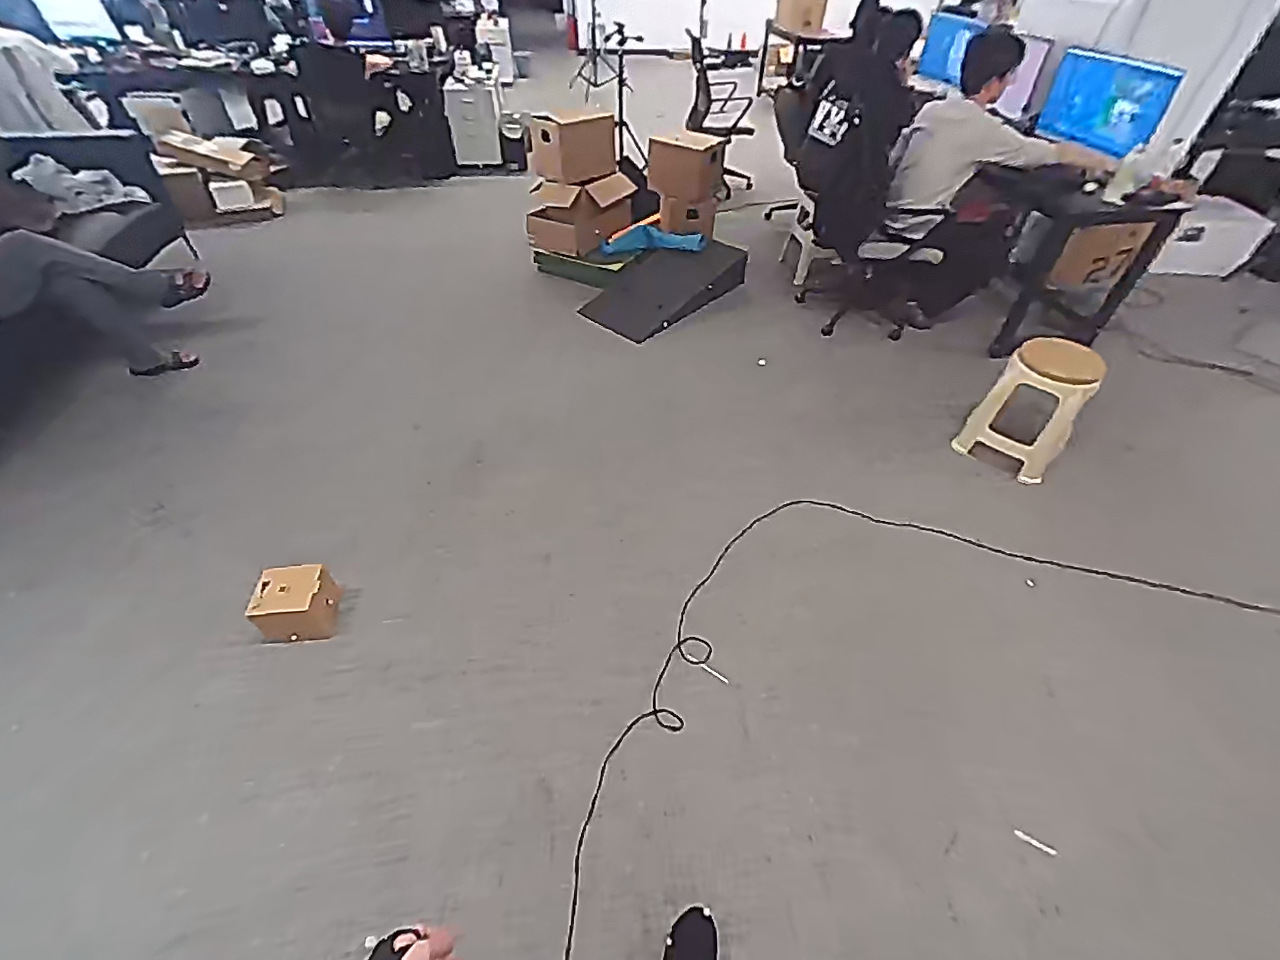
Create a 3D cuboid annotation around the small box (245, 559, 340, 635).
[{"bbox_3d":[-1.062,0.362,1.676,0.179,0.176,0.168,-3,45,-5],"label":"small box"}]
